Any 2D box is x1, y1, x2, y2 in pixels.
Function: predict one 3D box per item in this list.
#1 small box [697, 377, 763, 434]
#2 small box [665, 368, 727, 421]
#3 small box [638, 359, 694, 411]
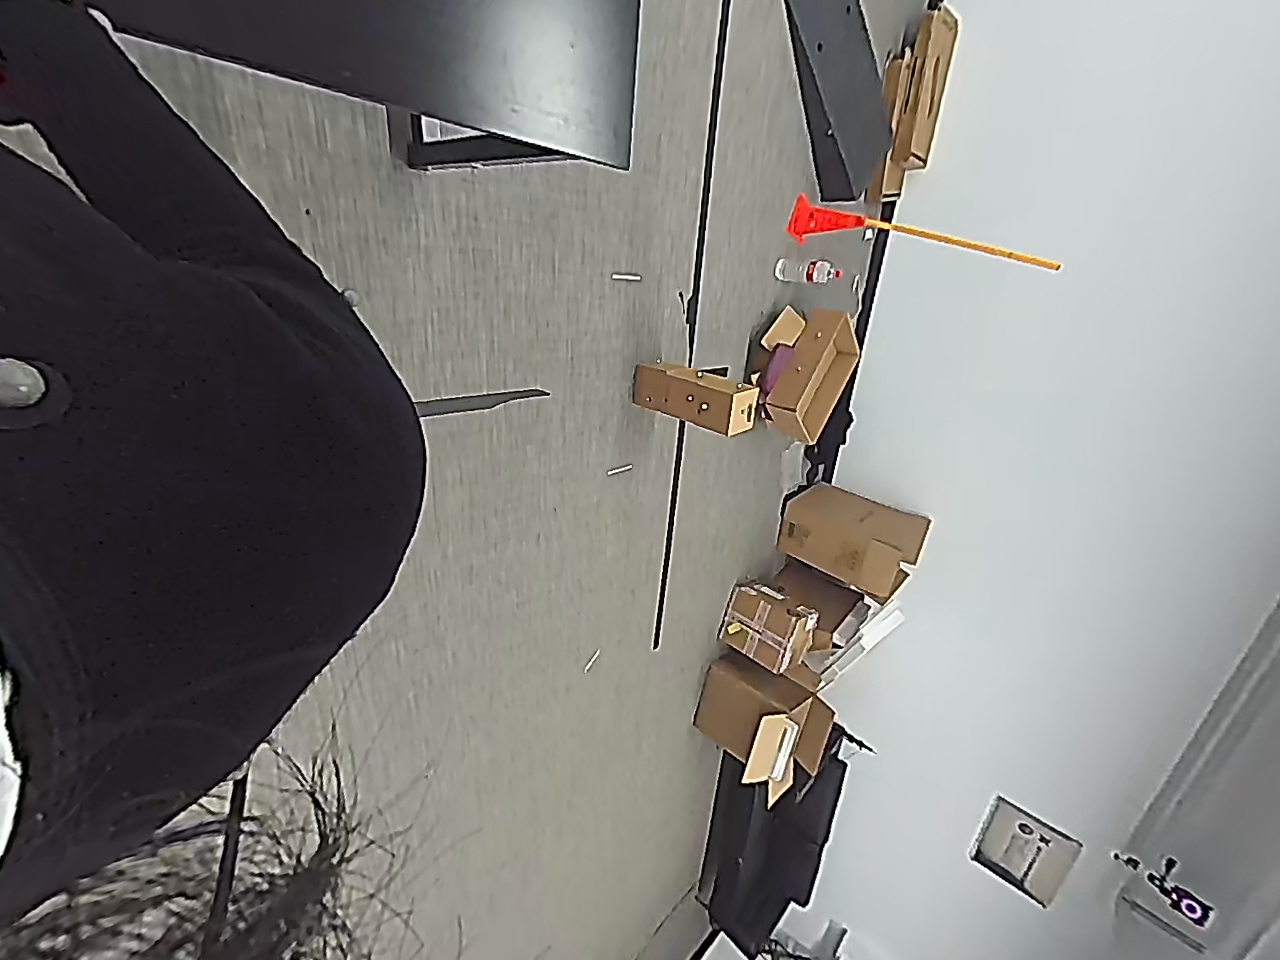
[{"bbox_3d":[0.345,-0.292,2.076,0.179,0.176,0.168,-20,124,-43],"label":"small box"},{"bbox_3d":[0.225,-0.349,2.174,0.179,0.176,0.168,-22,124,-44],"label":"small box"},{"bbox_3d":[0.106,-0.402,2.274,0.168,0.176,0.179,-19,122,-45],"label":"small box"}]
